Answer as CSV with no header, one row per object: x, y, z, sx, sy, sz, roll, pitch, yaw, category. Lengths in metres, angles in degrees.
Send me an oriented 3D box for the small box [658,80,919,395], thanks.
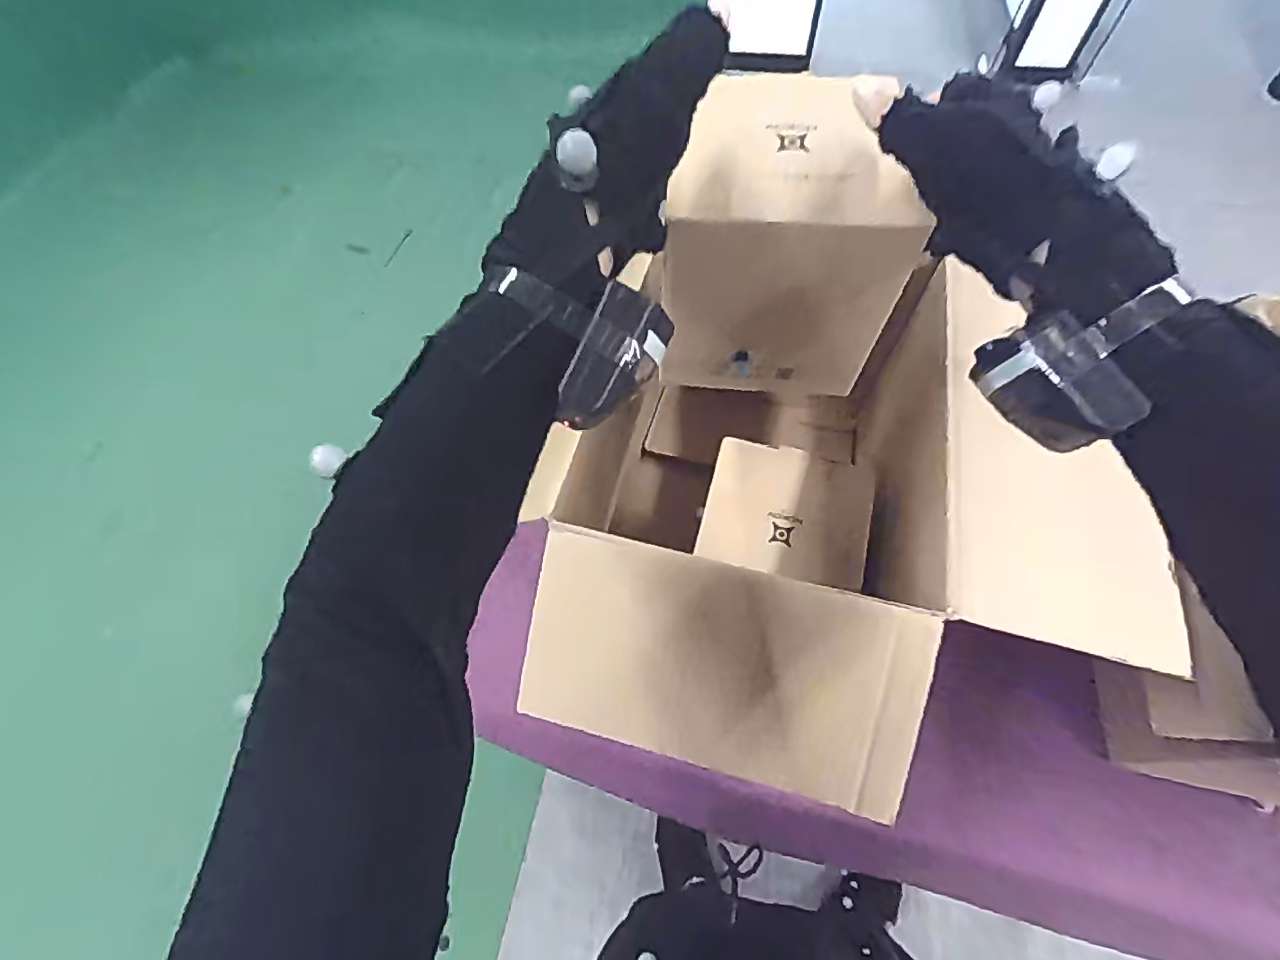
0.103,-0.196,0.452,0.168,0.176,0.179,4,61,4,small box
